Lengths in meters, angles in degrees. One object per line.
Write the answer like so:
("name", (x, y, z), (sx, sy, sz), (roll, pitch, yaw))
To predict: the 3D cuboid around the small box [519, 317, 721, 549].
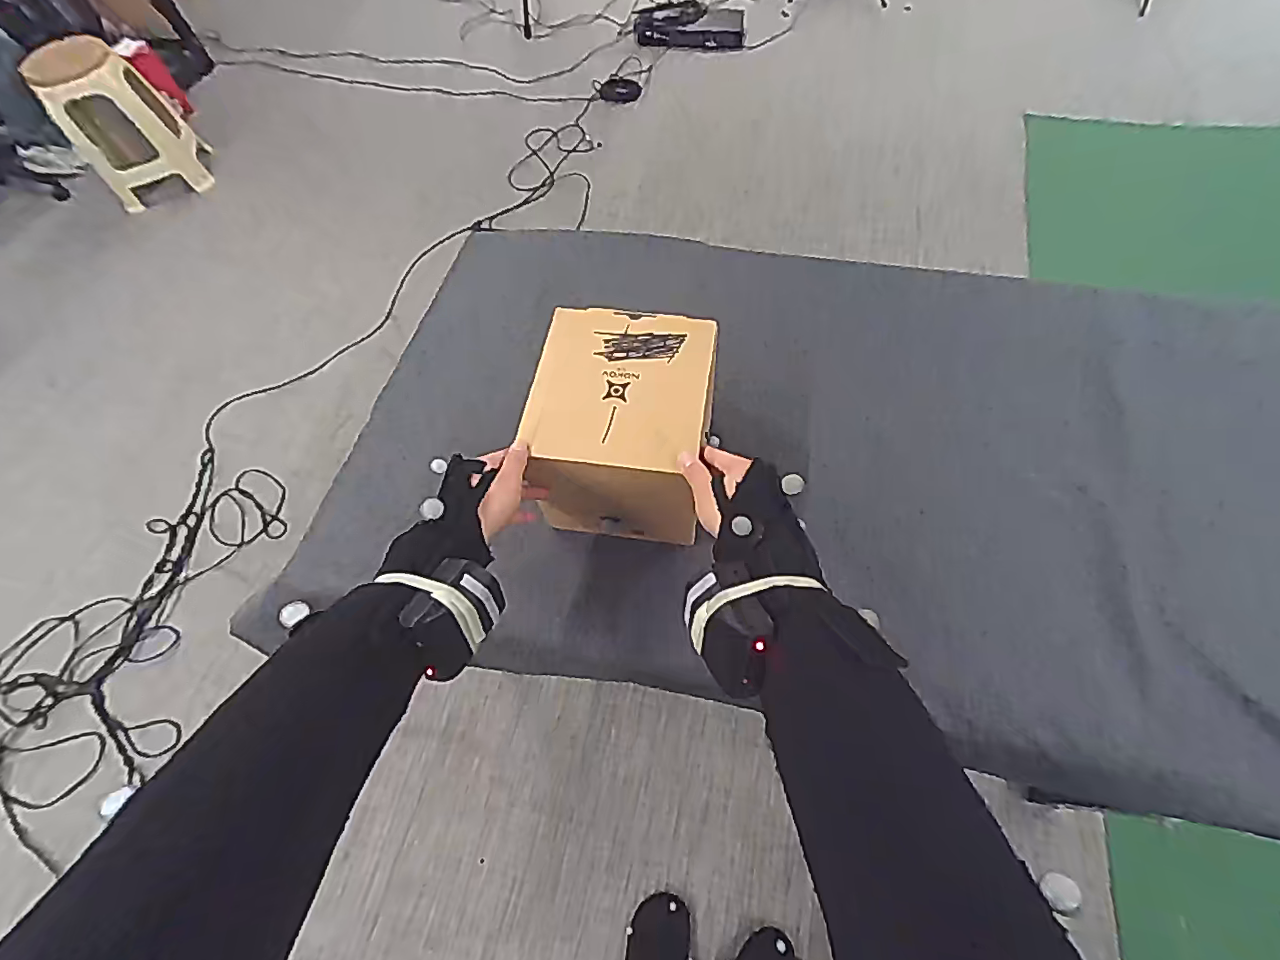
("small box", (-0.009, -0.045, 0.575), (0.168, 0.176, 0.179), (6, 62, 9))
